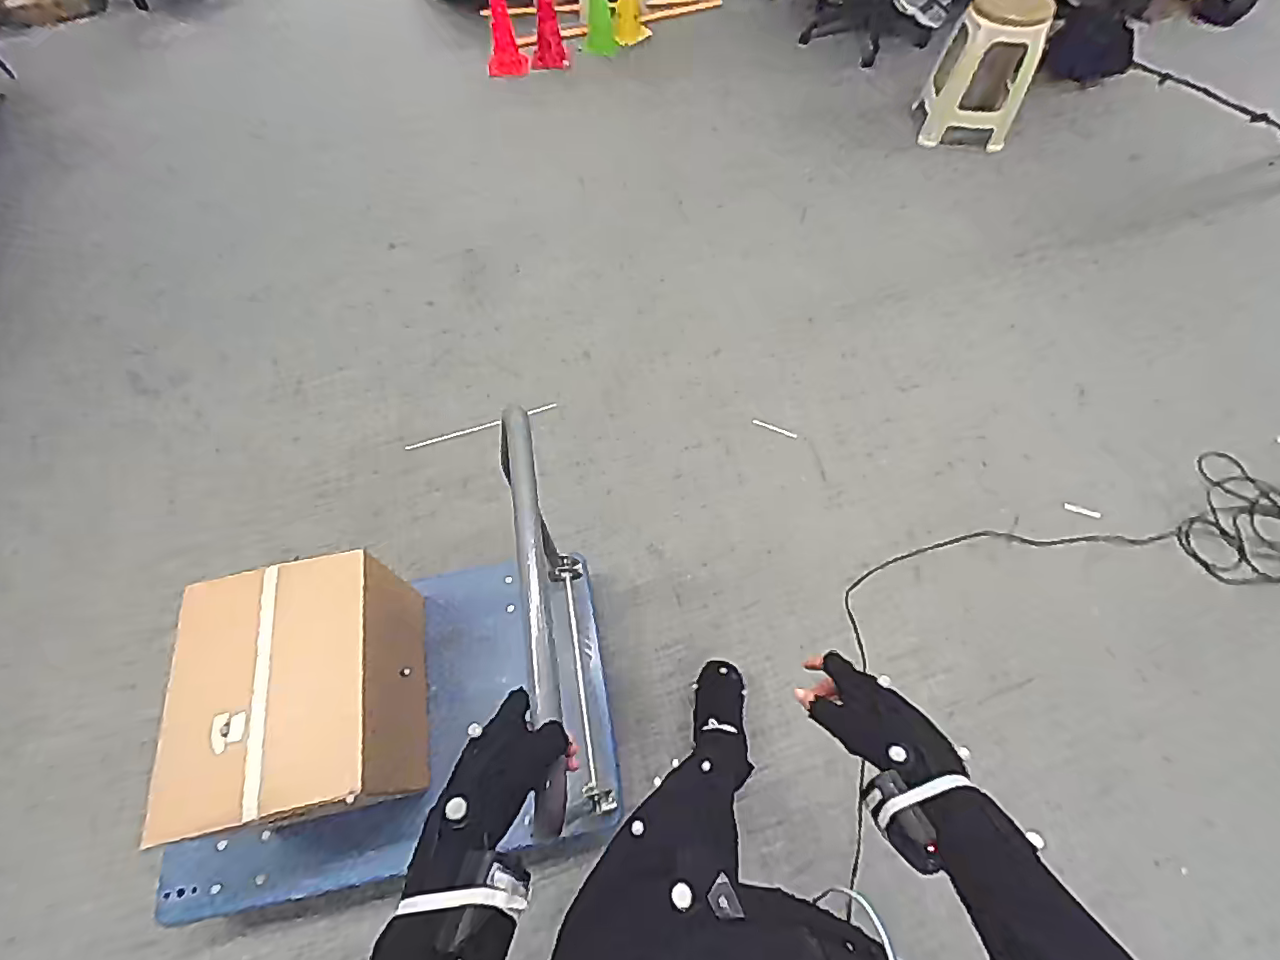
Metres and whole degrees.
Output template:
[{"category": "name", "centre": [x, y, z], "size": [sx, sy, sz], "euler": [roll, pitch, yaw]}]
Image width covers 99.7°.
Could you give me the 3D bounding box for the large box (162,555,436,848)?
[{"category": "large box", "centre": [-0.596, 0.406, 1.022], "size": [0.320, 0.320, 0.408], "euler": [-12, 62, -6]}]
